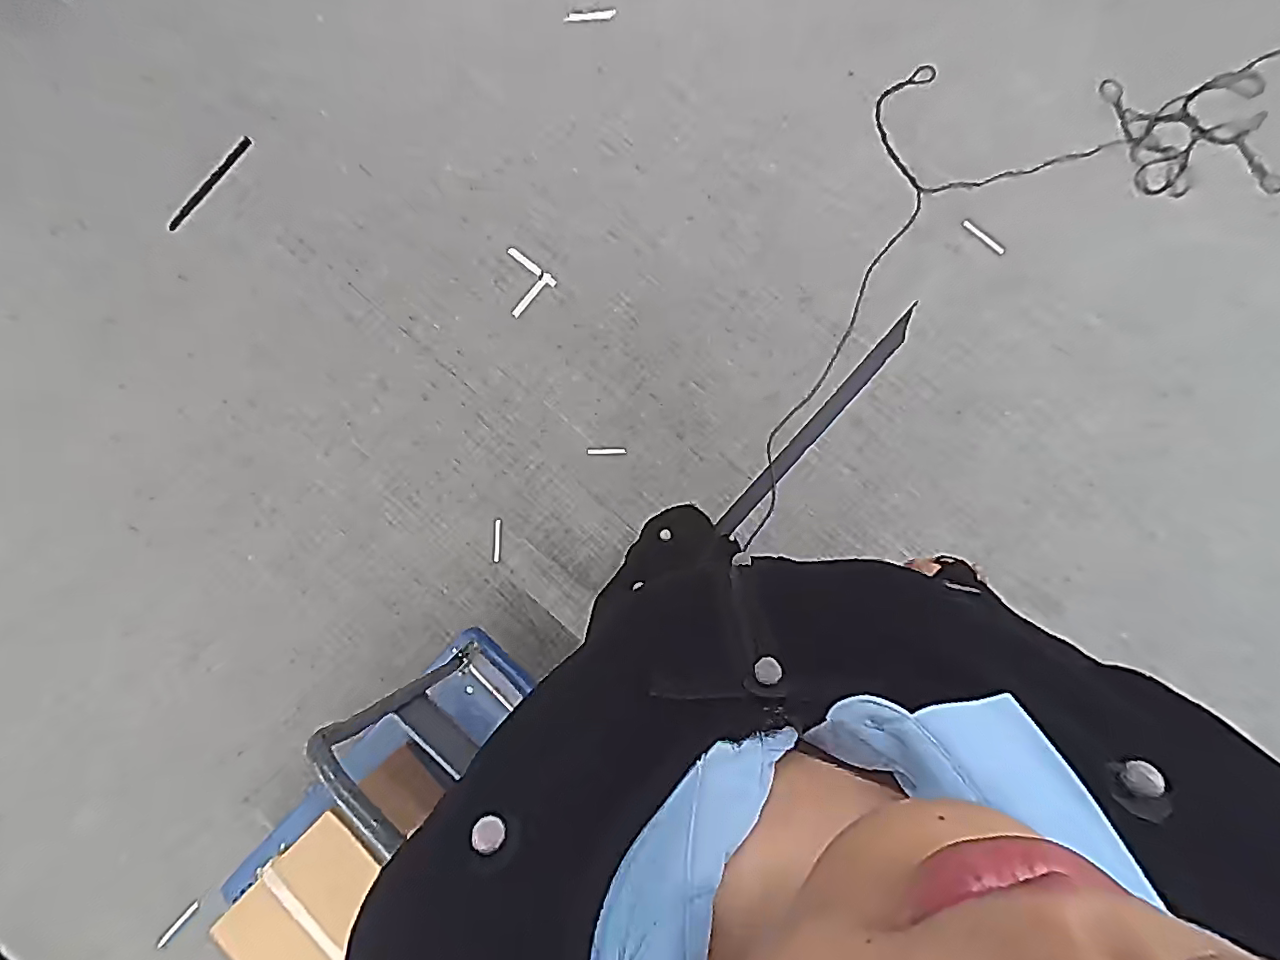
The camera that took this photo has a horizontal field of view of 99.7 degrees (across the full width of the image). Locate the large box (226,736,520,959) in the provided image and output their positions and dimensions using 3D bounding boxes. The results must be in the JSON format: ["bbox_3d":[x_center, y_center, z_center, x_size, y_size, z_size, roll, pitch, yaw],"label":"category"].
[{"bbox_3d":[-0.532,0.850,1.156,0.408,0.320,0.320,45,89,4],"label":"large box"}]
